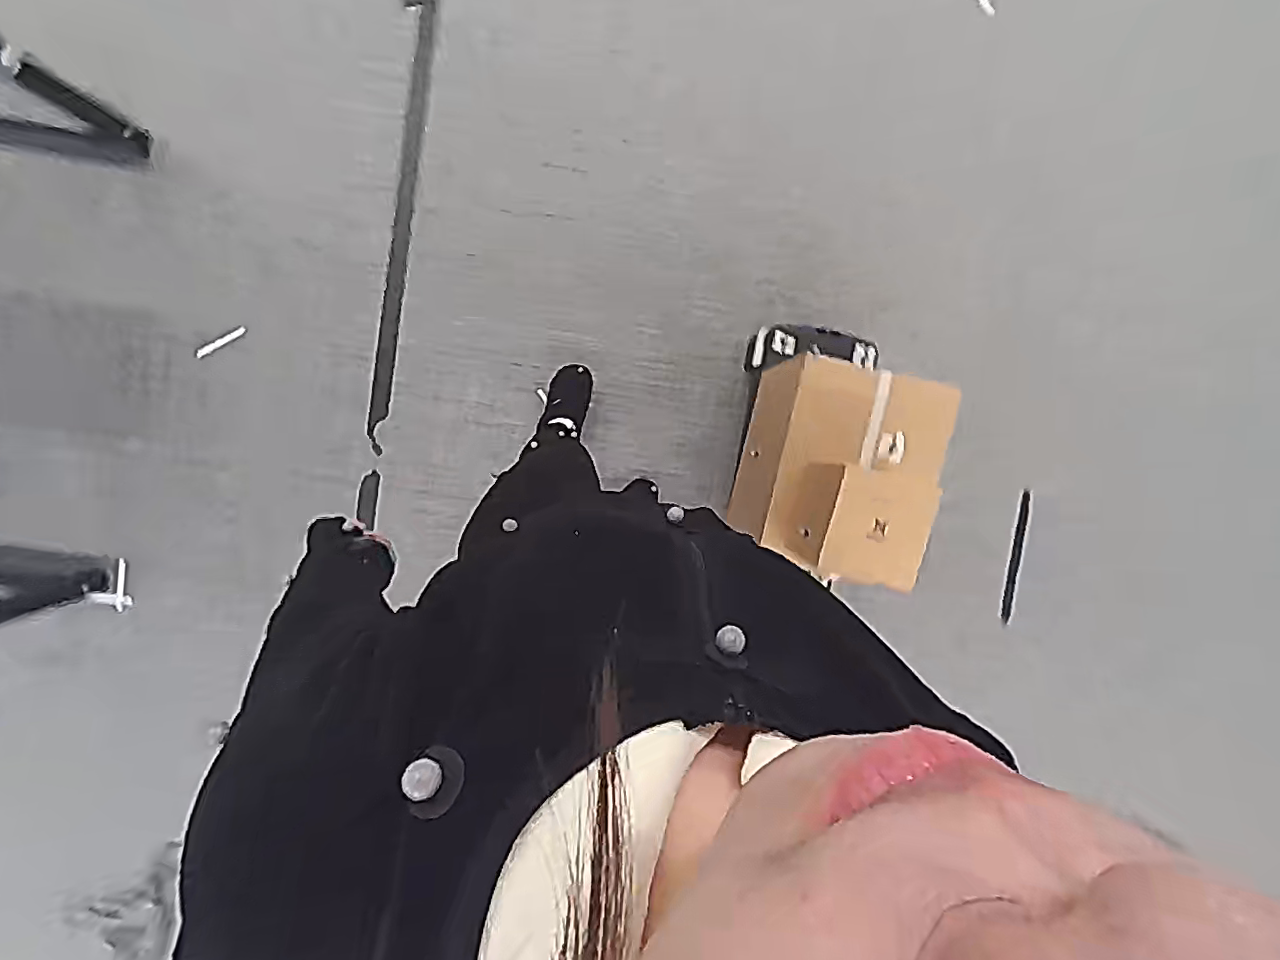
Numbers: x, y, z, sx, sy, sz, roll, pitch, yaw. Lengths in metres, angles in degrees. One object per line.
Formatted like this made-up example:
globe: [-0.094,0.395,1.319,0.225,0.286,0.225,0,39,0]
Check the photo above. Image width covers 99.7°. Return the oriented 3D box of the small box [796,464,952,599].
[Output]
small box: [0.383,0.079,0.924,0.168,0.176,0.179,16,93,-3]

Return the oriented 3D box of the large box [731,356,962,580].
large box: [0.411,-0.012,1.164,0.320,0.320,0.408,13,93,-5]
